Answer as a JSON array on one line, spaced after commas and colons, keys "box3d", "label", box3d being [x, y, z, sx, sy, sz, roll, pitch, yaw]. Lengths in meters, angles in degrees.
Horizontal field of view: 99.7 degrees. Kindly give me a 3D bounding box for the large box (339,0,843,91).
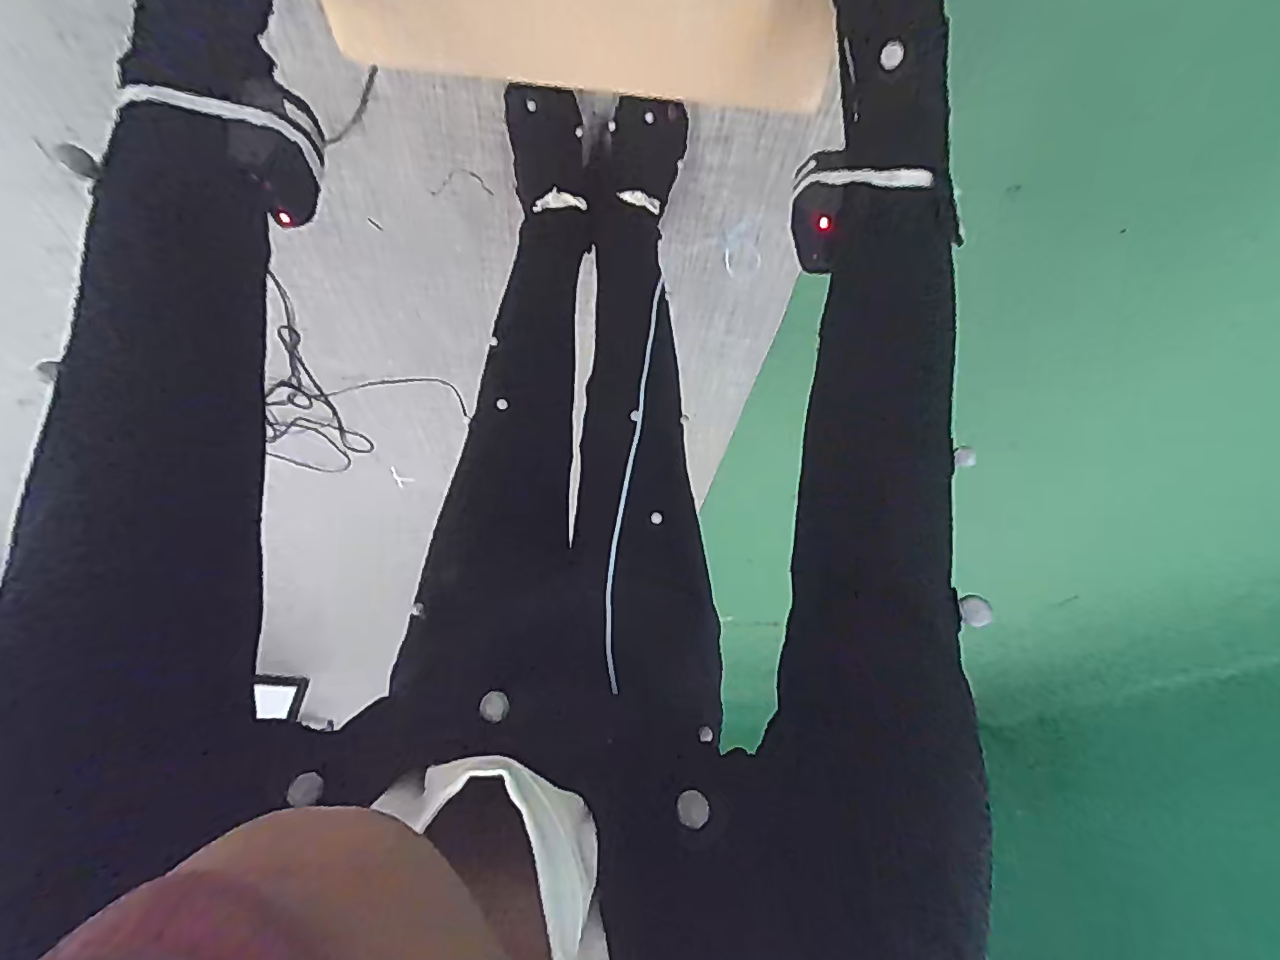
[{"box3d": [-0.031, -0.557, 0.421, 0.408, 0.320, 0.320, 4, 147, -3], "label": "large box"}]
